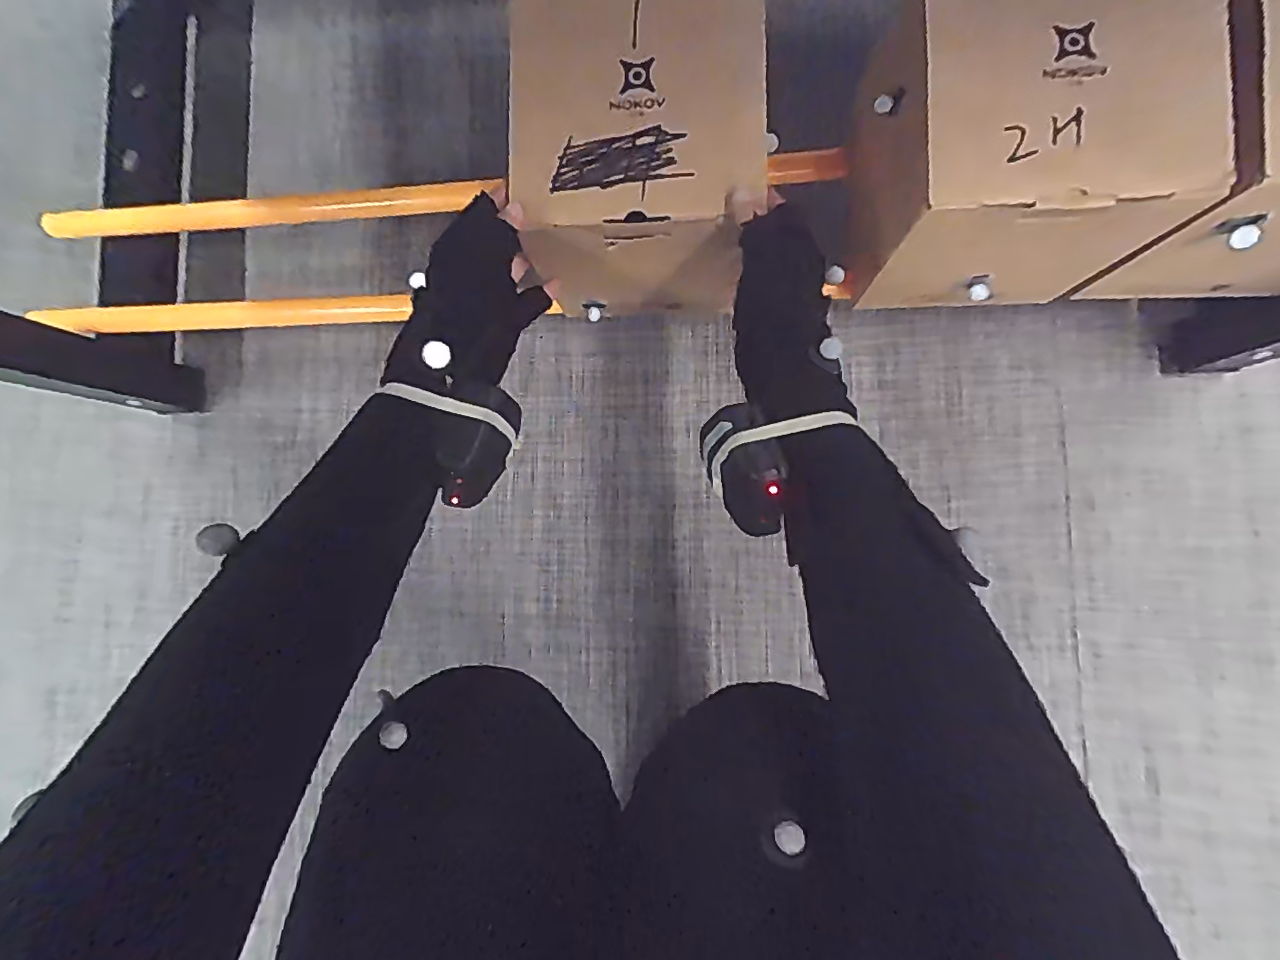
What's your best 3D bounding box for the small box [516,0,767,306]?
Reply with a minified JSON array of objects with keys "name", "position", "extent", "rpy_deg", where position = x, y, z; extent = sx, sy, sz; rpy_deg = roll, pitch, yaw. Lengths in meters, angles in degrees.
[{"name":"small box","position":[0.009,-0.249,0.432],"extent":[0.168,0.176,0.179],"rpy_deg":[0,85,5]}]
